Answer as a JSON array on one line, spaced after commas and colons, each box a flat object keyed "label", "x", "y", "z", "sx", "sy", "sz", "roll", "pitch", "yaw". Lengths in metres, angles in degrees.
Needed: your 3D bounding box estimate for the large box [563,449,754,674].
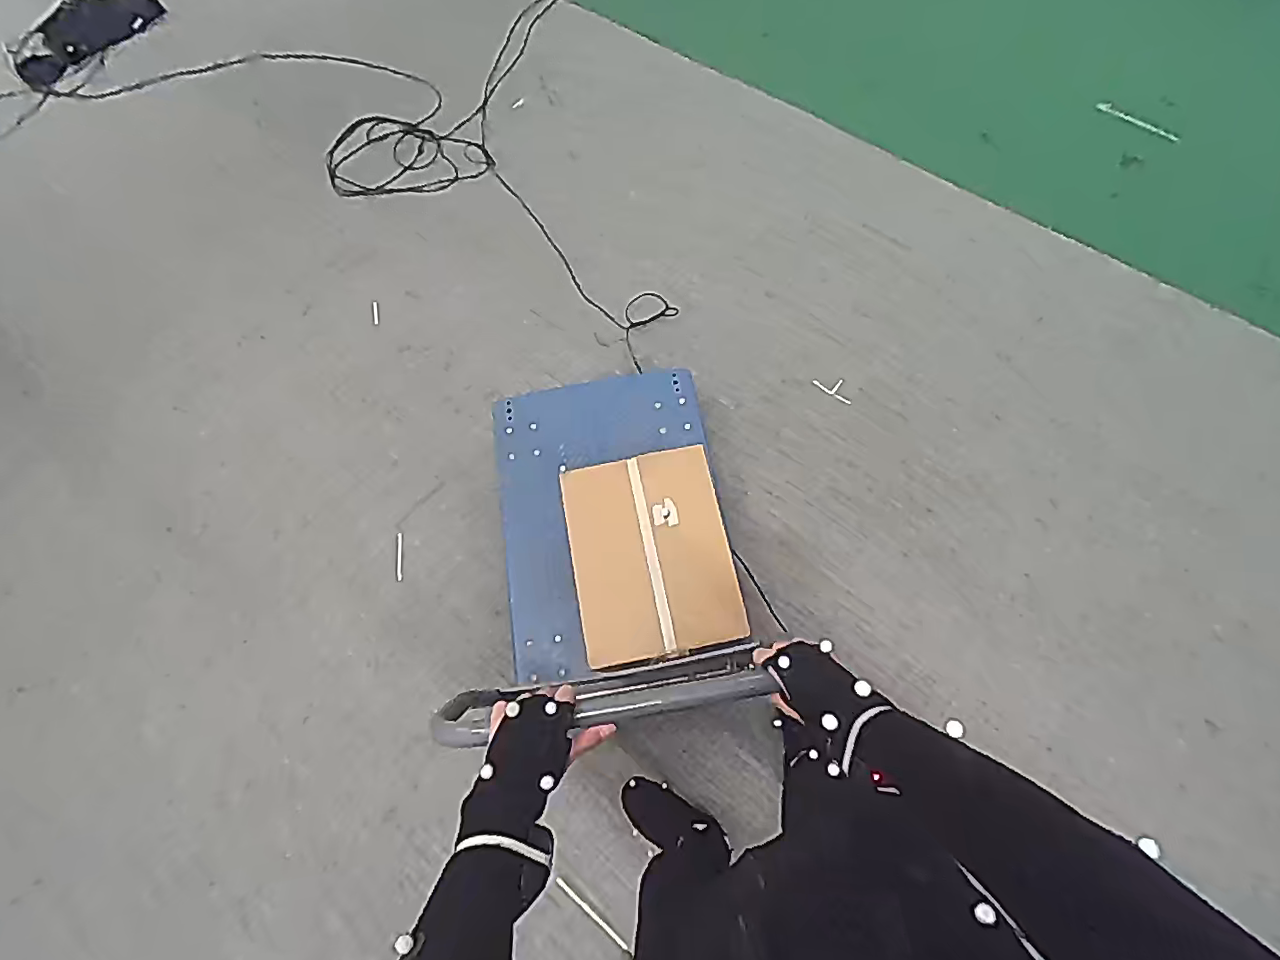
[{"label": "large box", "x": 0.034, "y": 0.196, "z": 1.214, "sx": 0.320, "sy": 0.320, "sz": 0.408, "roll": -11, "pitch": 69, "yaw": -3}]
